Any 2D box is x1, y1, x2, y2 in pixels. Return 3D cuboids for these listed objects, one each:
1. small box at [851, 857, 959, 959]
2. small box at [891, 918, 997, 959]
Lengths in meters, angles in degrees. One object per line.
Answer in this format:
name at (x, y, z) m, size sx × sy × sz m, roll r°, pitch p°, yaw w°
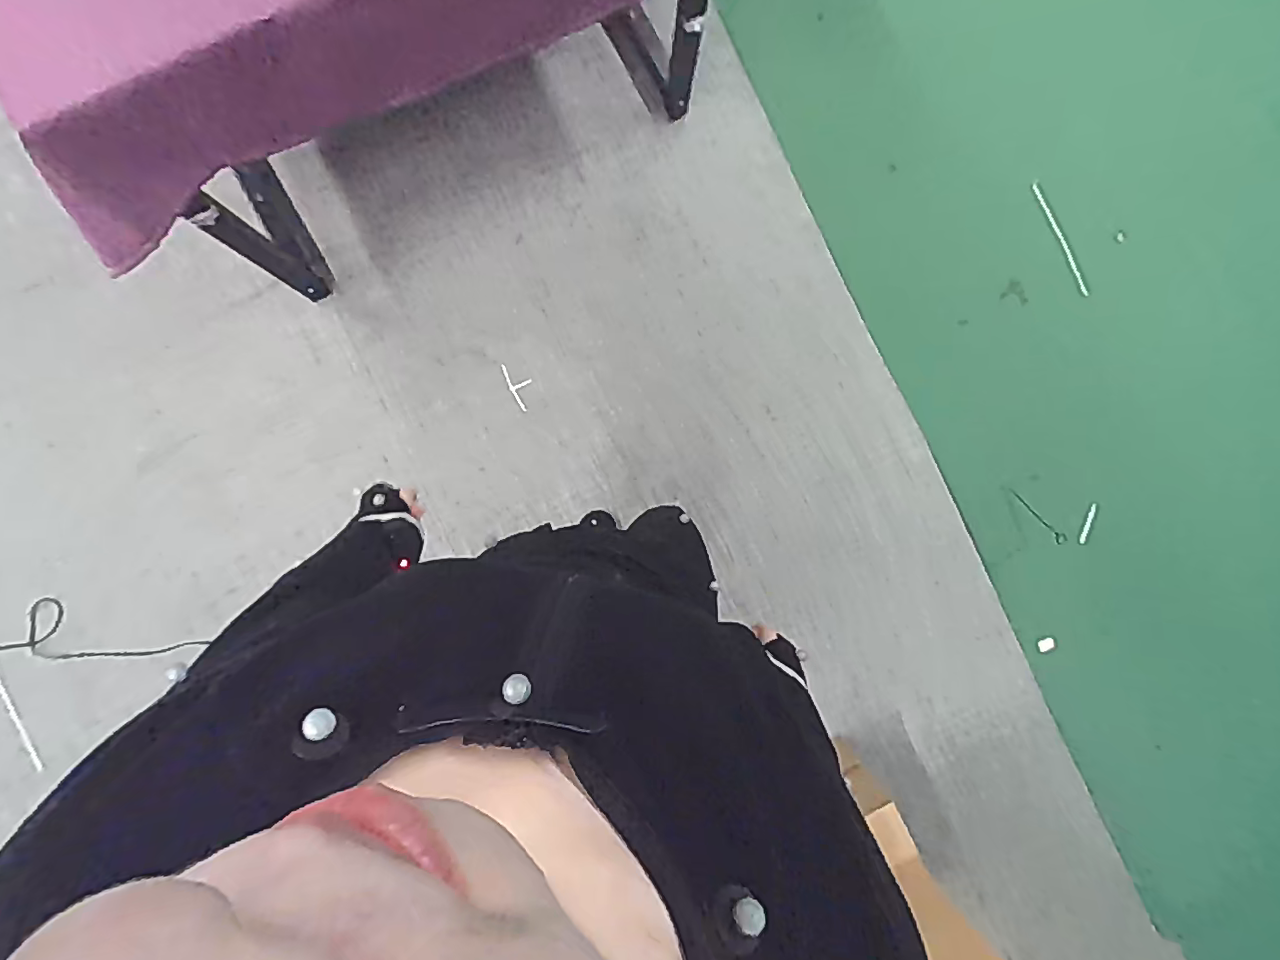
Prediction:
small box at (0.572, 0.957, 1.138) m, size 0.179 × 0.176 × 0.168 m, roll -28°, pitch 93°, yaw -5°
small box at (0.593, 0.957, 0.977) m, size 0.179 × 0.176 × 0.168 m, roll -27°, pitch 93°, yaw -3°
